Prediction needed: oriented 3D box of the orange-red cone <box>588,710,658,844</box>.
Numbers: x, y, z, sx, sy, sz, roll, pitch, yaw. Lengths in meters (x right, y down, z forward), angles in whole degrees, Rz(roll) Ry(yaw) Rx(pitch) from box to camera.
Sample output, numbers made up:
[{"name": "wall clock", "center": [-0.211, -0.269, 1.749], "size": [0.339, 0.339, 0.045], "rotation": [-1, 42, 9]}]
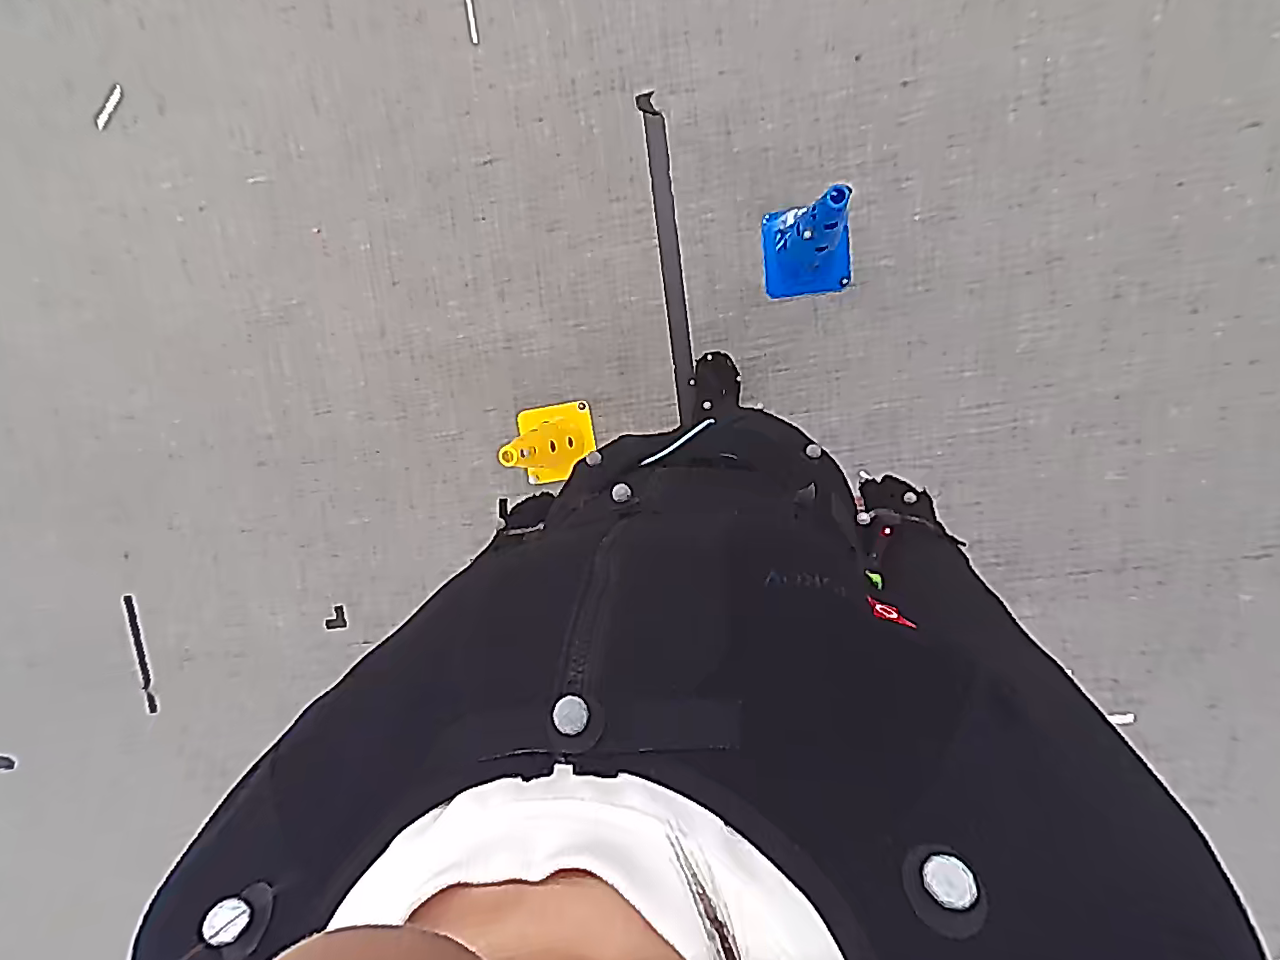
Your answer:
[{"name": "orange-red cone", "center": [-0.073, 0.768, 1.364], "size": [0.199, 0.360, 0.198], "rotation": [-2, 96, 10]}]

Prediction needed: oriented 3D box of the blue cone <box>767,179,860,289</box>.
[{"name": "blue cone", "center": [0.382, -0.535, 1.130], "size": [0.192, 0.380, 0.193], "rotation": [-3, 98, 8]}]
